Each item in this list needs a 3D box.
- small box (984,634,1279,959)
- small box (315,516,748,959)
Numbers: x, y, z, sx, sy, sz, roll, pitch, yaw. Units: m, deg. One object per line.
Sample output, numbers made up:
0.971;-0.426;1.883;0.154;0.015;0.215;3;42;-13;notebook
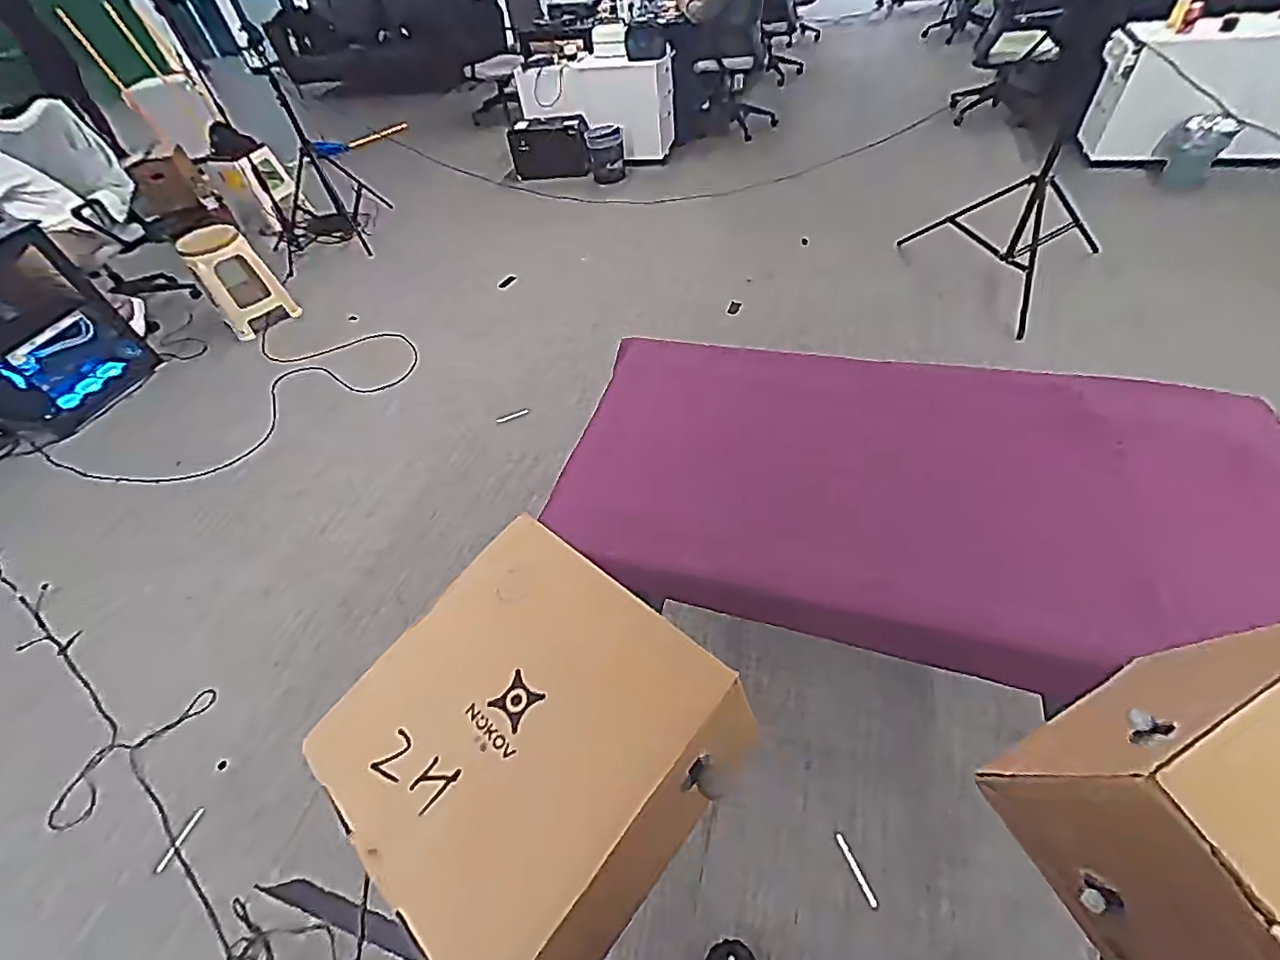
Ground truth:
0.348;0.200;0.303;0.179;0.176;0.168;-27;64;-10;small box
-0.046;0.161;0.343;0.168;0.176;0.179;31;70;31;small box
